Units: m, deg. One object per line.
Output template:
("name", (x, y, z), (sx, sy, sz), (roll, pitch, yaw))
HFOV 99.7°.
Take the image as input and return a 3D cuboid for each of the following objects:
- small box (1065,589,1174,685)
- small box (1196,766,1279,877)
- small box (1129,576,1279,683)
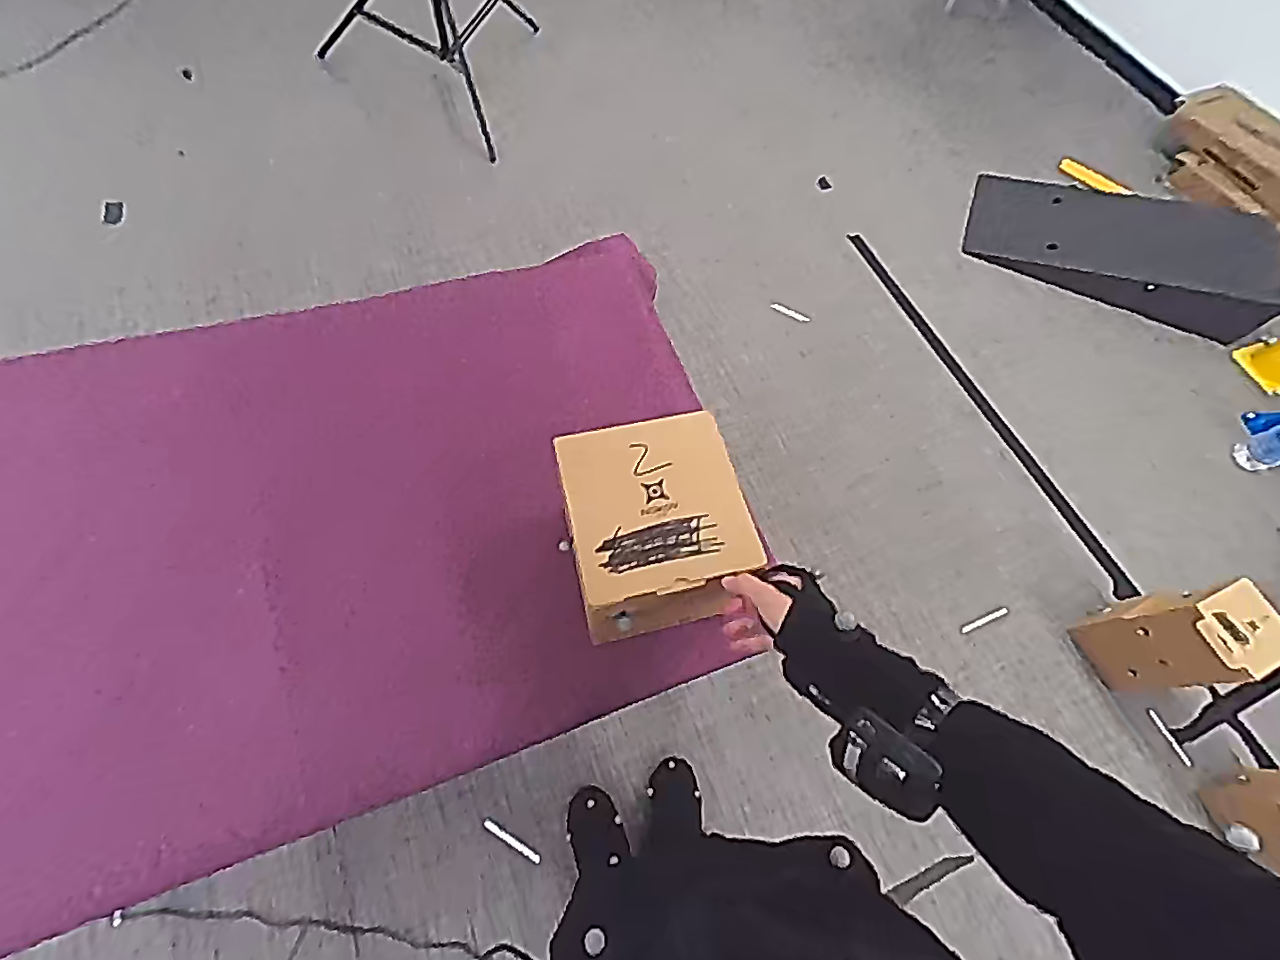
("small box", (1.235, 0.398, 1.349), (0.168, 0.176, 0.179), (-21, 68, -15))
("small box", (1.429, 0.762, 1.203), (0.168, 0.176, 0.179), (-15, 69, -12))
("small box", (1.252, 0.336, 1.198), (0.179, 0.176, 0.168), (-18, 69, -15))
